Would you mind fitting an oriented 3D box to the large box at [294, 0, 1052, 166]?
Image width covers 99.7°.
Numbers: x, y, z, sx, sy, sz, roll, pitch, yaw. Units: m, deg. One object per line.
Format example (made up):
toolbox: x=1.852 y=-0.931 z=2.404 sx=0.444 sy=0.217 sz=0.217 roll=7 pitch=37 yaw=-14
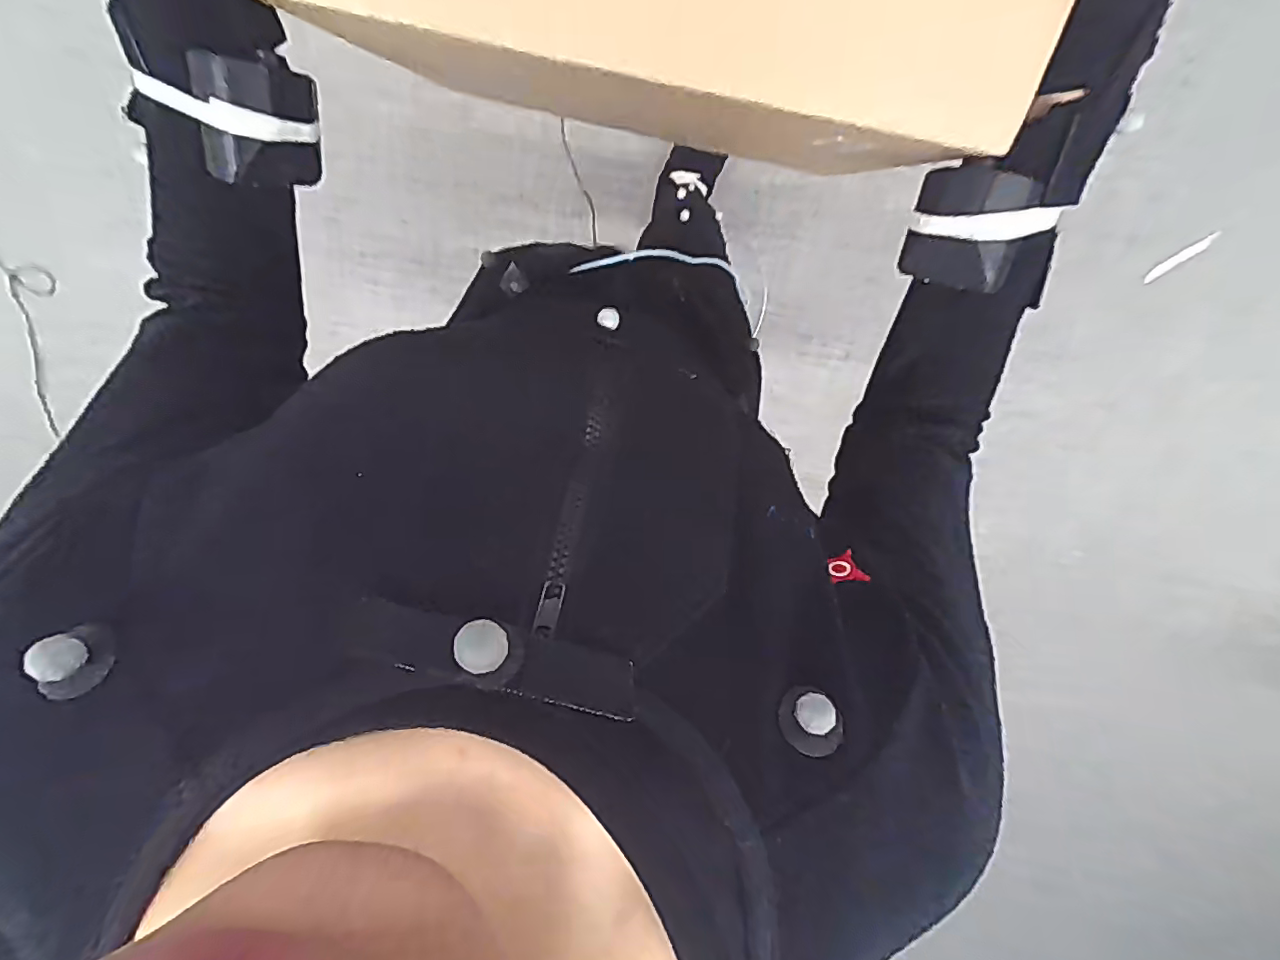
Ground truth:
large box: x=0.030 y=-0.420 z=0.346 sx=0.408 sy=0.320 sz=0.320 roll=10 pitch=118 yaw=-4
